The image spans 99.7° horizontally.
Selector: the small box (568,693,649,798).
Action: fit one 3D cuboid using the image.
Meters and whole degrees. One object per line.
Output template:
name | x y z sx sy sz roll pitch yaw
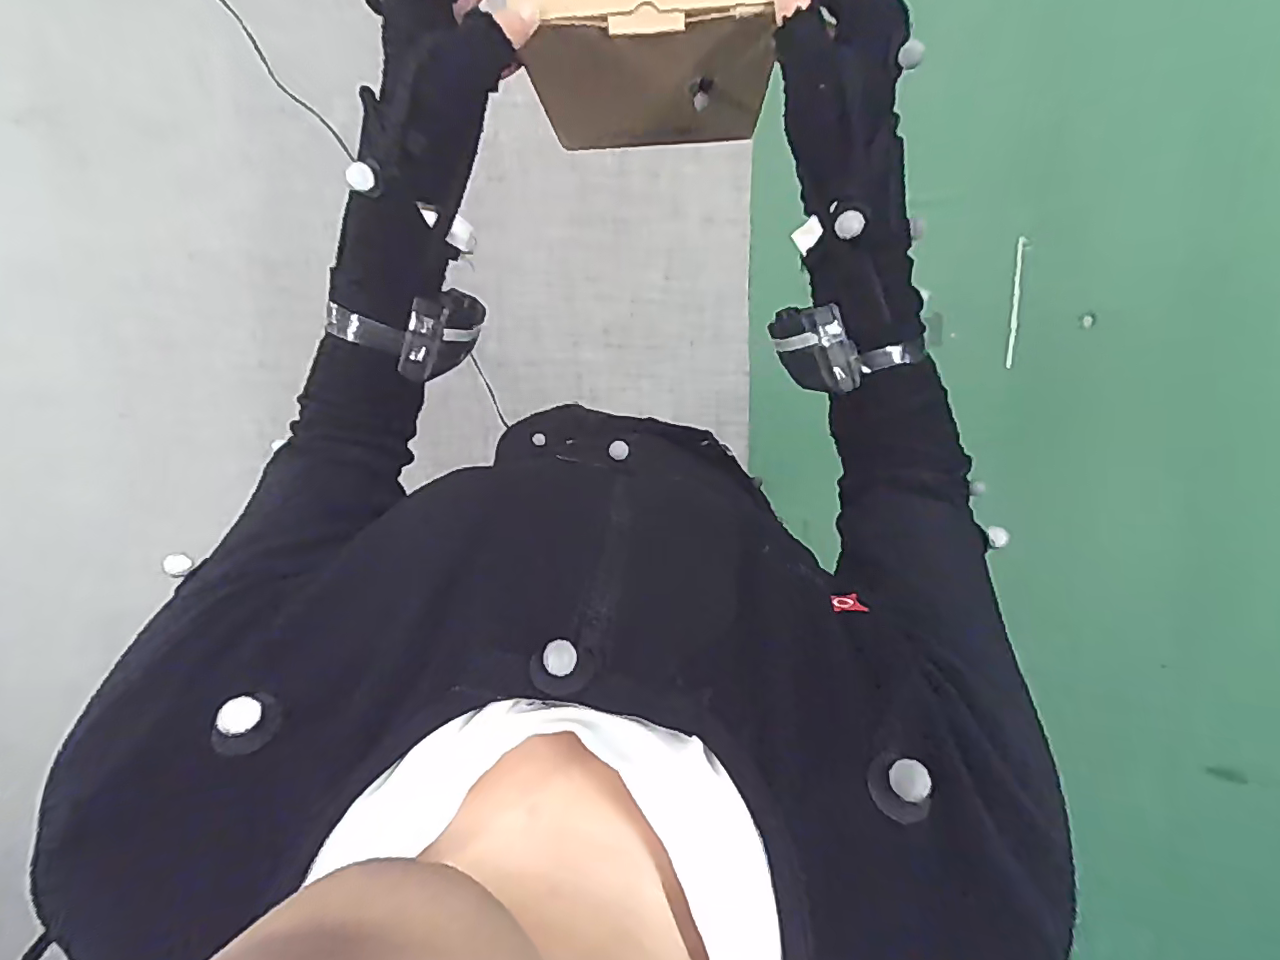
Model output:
small box | -0.076 0.679 1.408 0.168 0.176 0.179 -16 97 4
